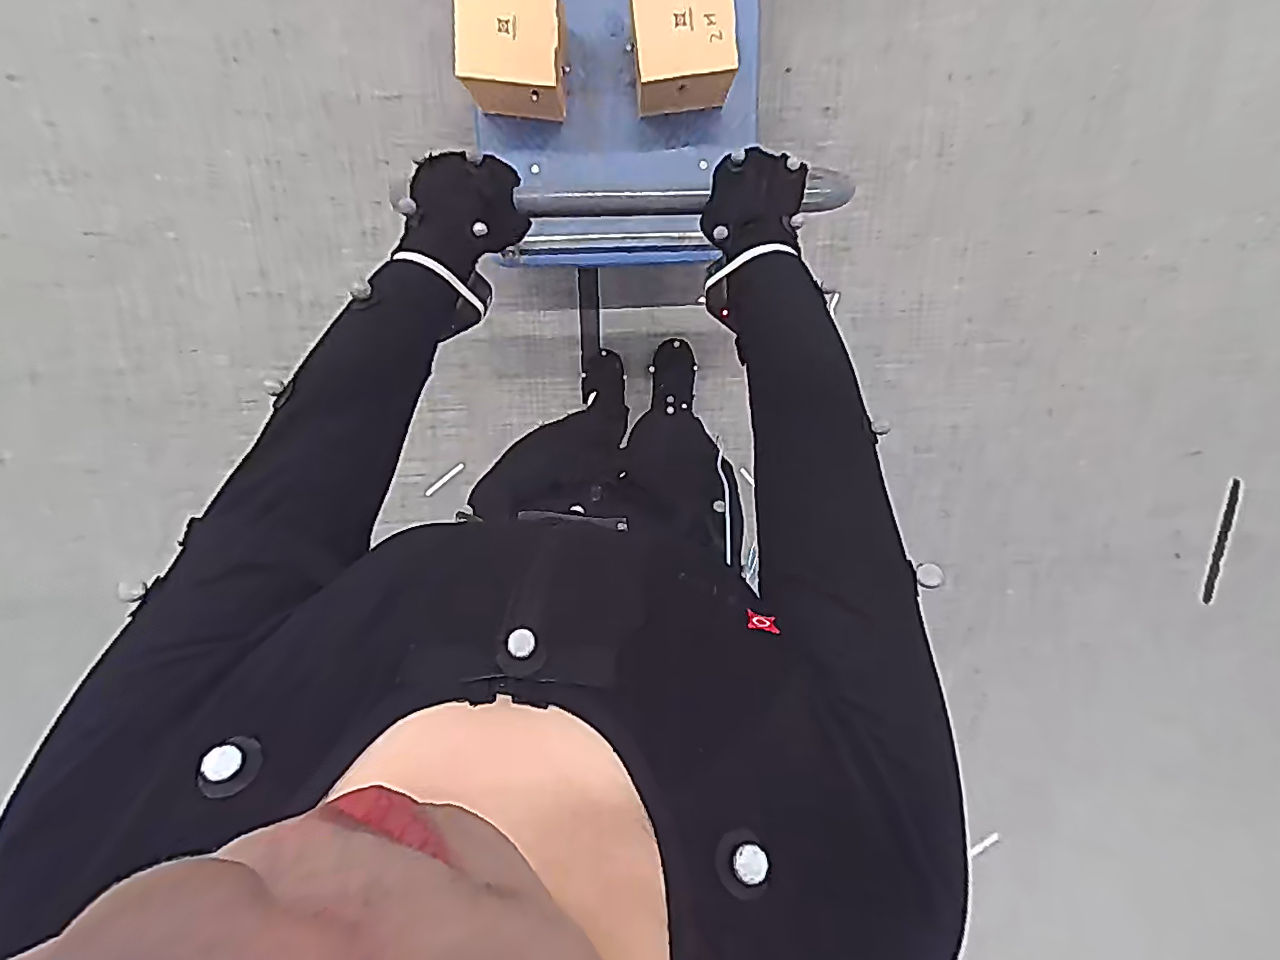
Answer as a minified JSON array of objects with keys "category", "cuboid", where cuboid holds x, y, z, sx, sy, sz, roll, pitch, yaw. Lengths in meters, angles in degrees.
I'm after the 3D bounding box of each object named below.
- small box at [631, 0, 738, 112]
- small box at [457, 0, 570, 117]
[{"category":"small box","cuboid":[0.078,-0.812,1.005,0.179,0.176,0.168,-7,107,1]},{"category":"small box","cuboid":[-0.227,-0.800,1.001,0.179,0.176,0.168,3,106,-4]}]
